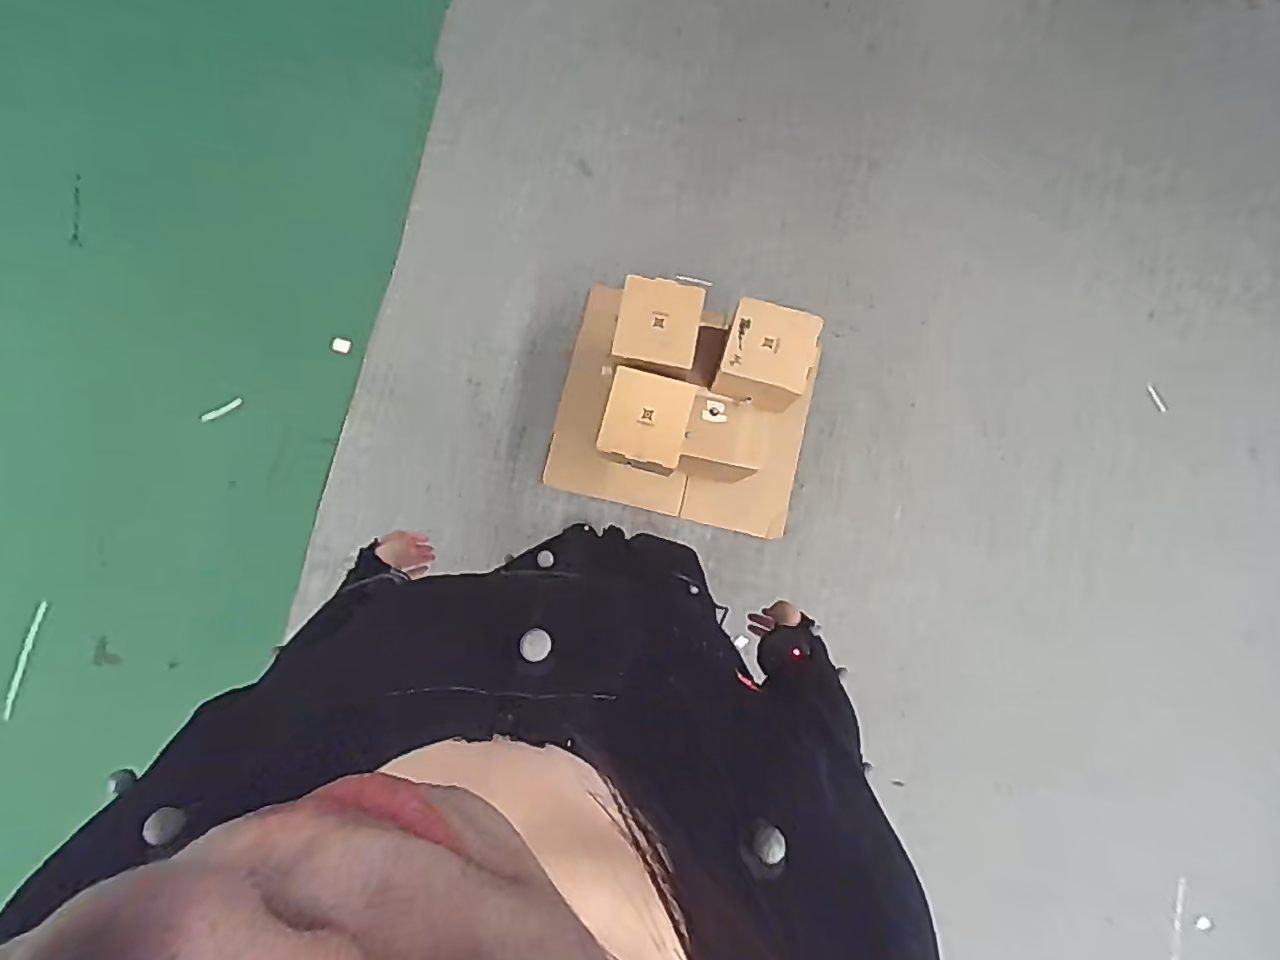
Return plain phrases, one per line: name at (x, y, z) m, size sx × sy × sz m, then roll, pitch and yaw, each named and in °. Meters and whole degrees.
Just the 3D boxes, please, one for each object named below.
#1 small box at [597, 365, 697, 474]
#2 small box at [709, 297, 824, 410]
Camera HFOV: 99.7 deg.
small box at (0.011, -0.119, 1.140) m, size 0.168 × 0.176 × 0.179 m, roll 15°, pitch 86°, yaw -1°
small box at (0.262, -0.259, 1.158) m, size 0.179 × 0.176 × 0.168 m, roll 18°, pitch 84°, yaw 1°
